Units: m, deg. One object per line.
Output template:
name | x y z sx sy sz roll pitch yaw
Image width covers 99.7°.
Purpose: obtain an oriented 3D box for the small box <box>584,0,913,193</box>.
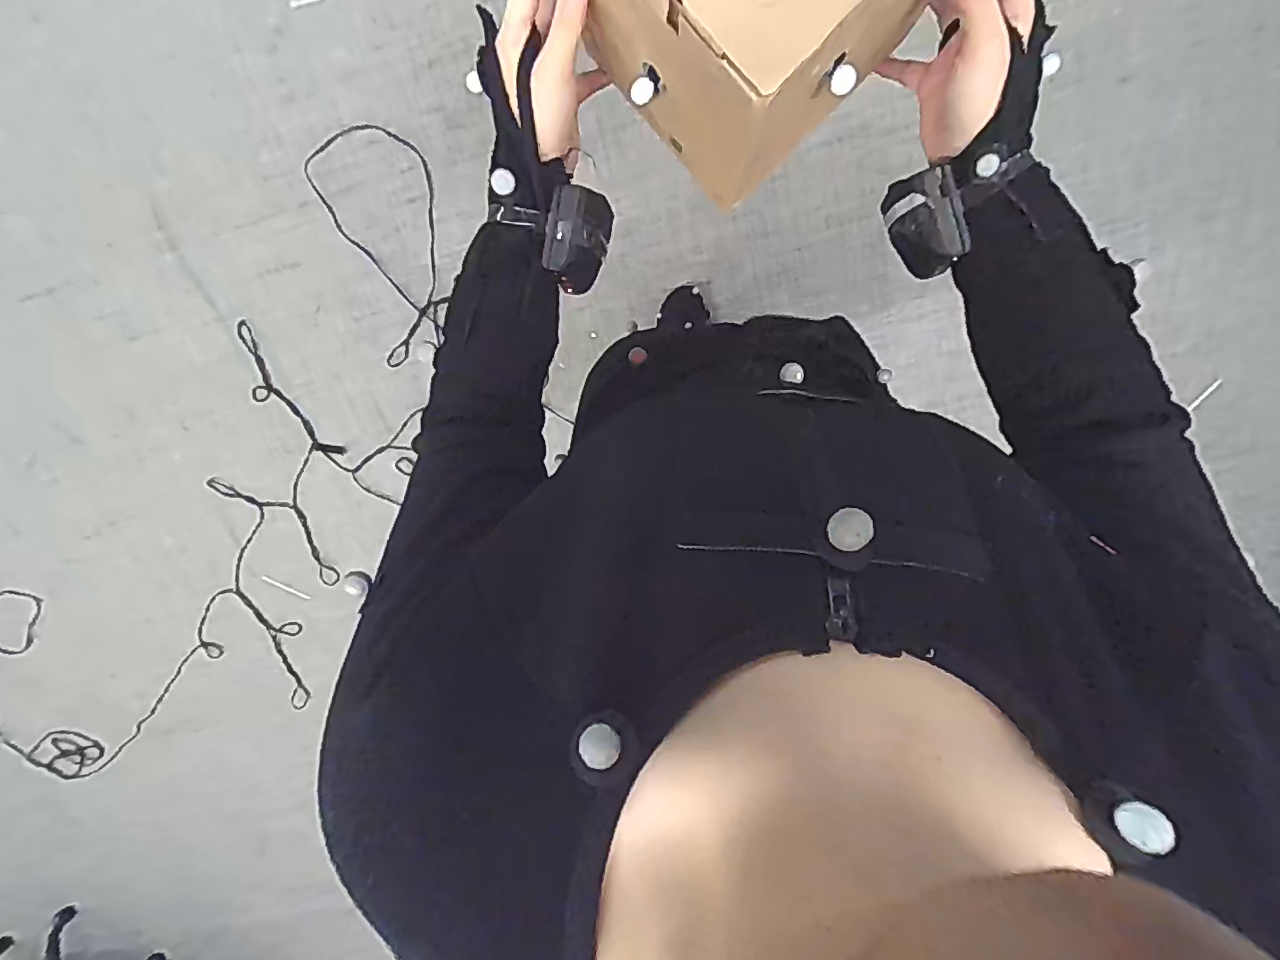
small box | 0.070 -0.319 0.330 0.179 0.176 0.168 -43 95 10
